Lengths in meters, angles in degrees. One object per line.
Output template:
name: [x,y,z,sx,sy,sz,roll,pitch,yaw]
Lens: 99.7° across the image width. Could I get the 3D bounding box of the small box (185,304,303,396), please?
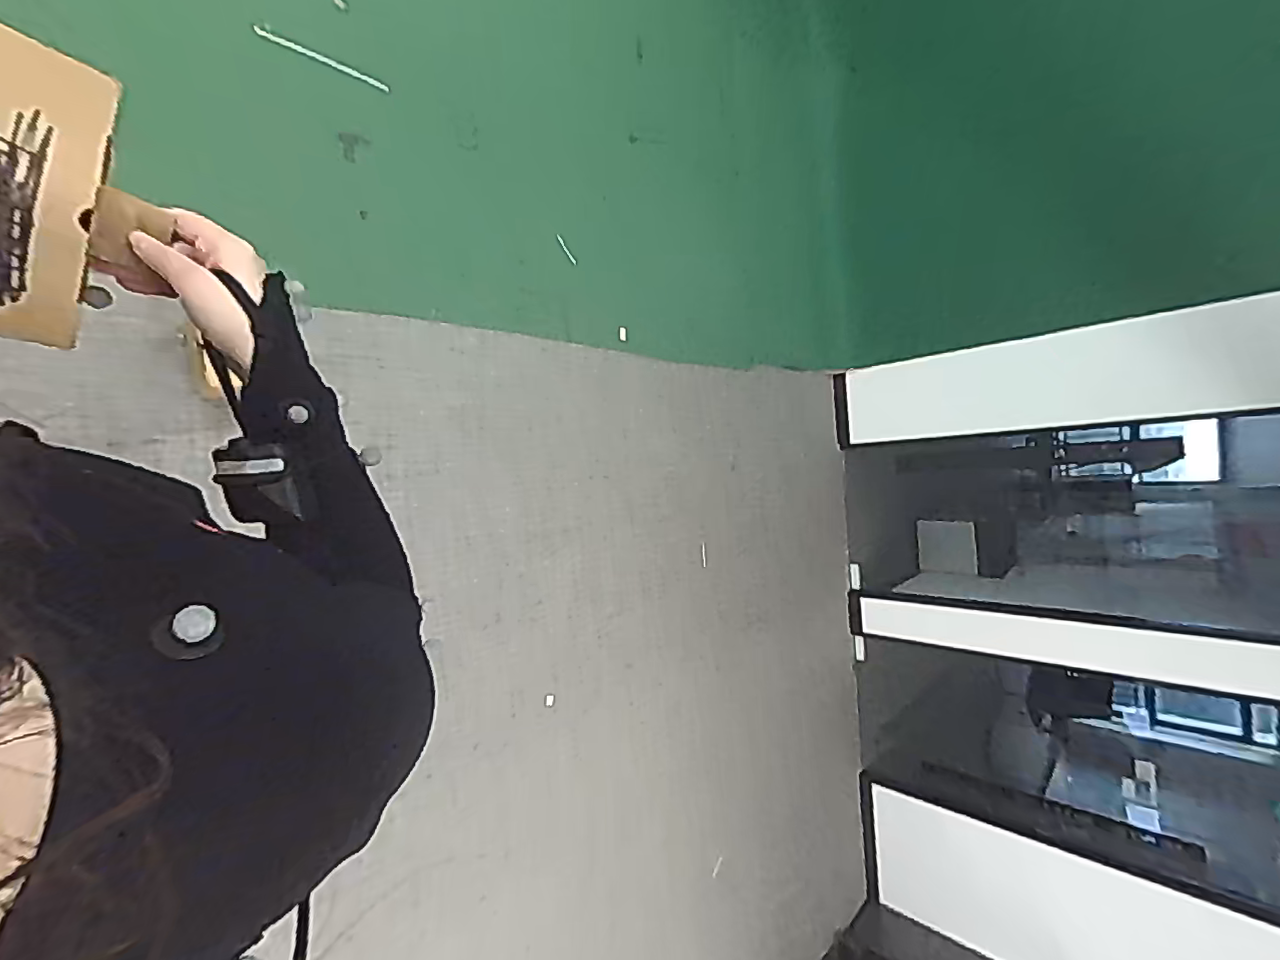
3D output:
small box: [-0.881,-0.282,1.199,0.179,0.176,0.168,-15,99,-45]
